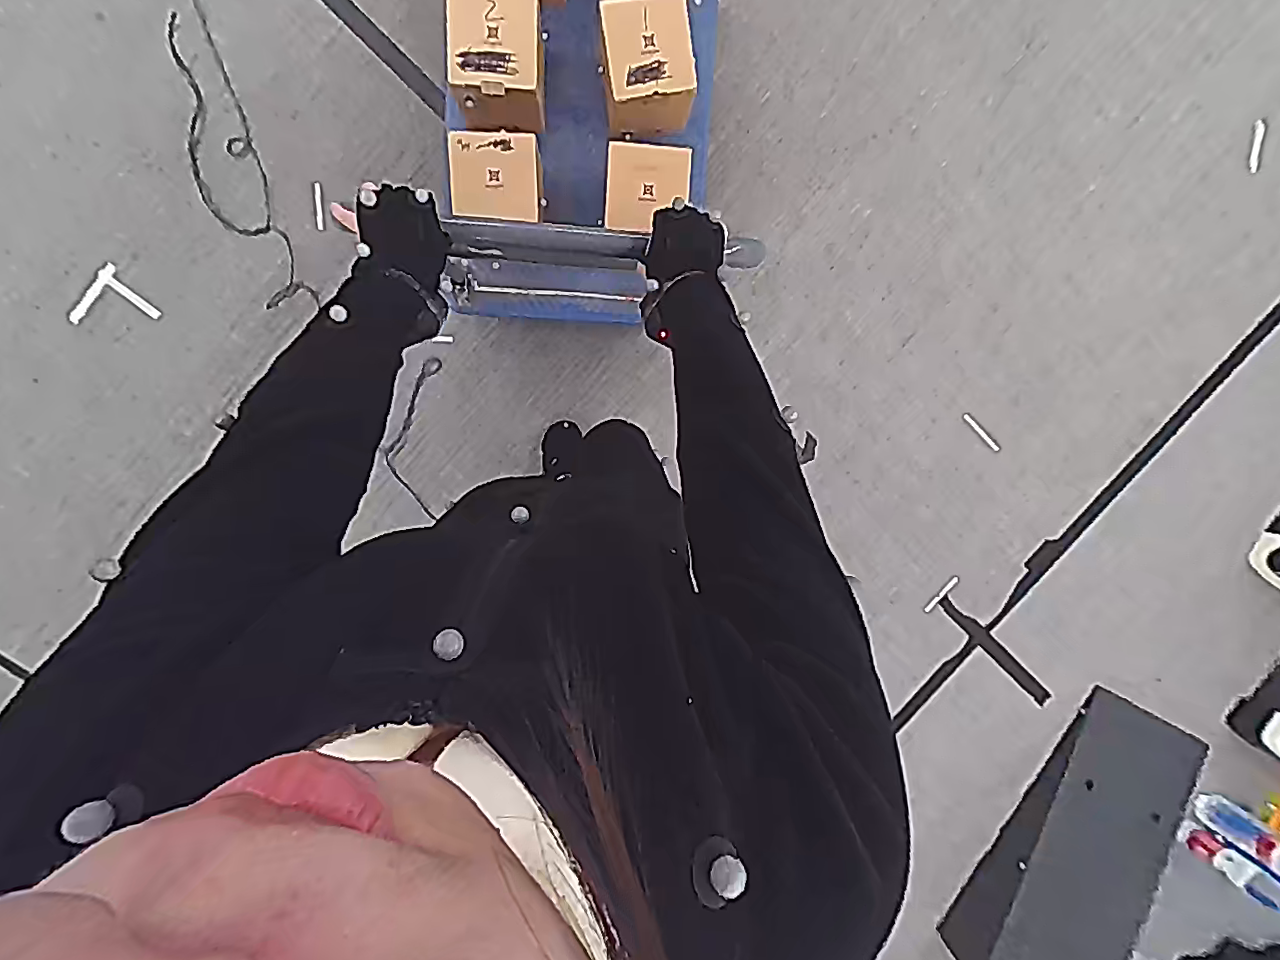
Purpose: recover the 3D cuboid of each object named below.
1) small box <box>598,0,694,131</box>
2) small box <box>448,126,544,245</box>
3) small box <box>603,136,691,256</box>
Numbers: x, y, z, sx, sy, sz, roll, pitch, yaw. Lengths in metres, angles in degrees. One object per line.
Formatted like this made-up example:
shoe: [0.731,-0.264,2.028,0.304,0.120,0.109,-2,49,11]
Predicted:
small box: [0.008,-0.844,1.105,0.168,0.176,0.179,-10,99,-3]
small box: [-0.288,-0.595,1.116,0.168,0.176,0.179,-1,99,-6]
small box: [0.008,-0.589,1.145,0.168,0.176,0.179,3,98,-6]
